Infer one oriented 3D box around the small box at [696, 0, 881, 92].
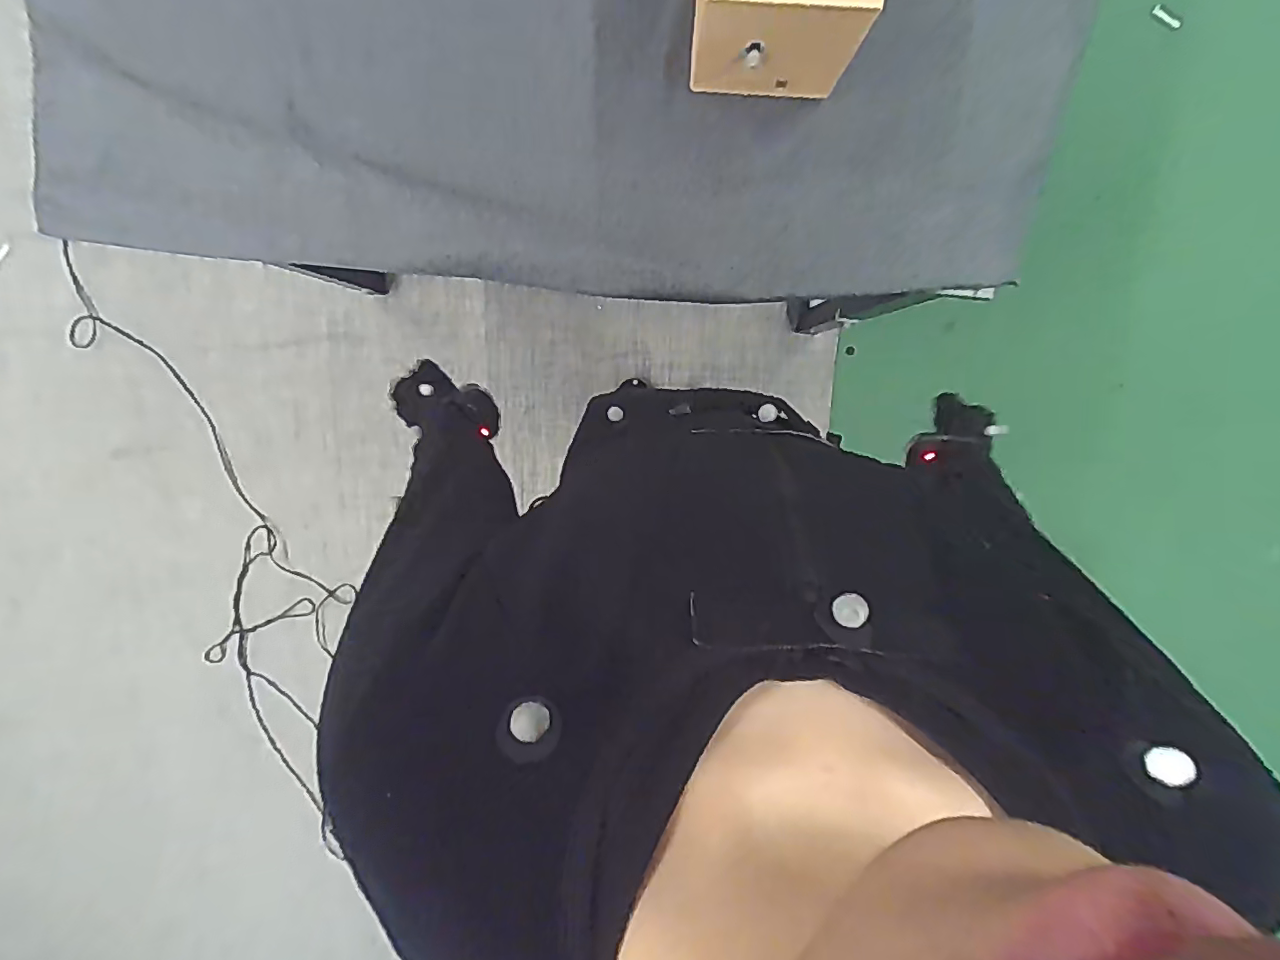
[{"bbox_3d":[0.148,-0.531,0.548,0.168,0.176,0.179,4,100,1],"label":"small box"}]
